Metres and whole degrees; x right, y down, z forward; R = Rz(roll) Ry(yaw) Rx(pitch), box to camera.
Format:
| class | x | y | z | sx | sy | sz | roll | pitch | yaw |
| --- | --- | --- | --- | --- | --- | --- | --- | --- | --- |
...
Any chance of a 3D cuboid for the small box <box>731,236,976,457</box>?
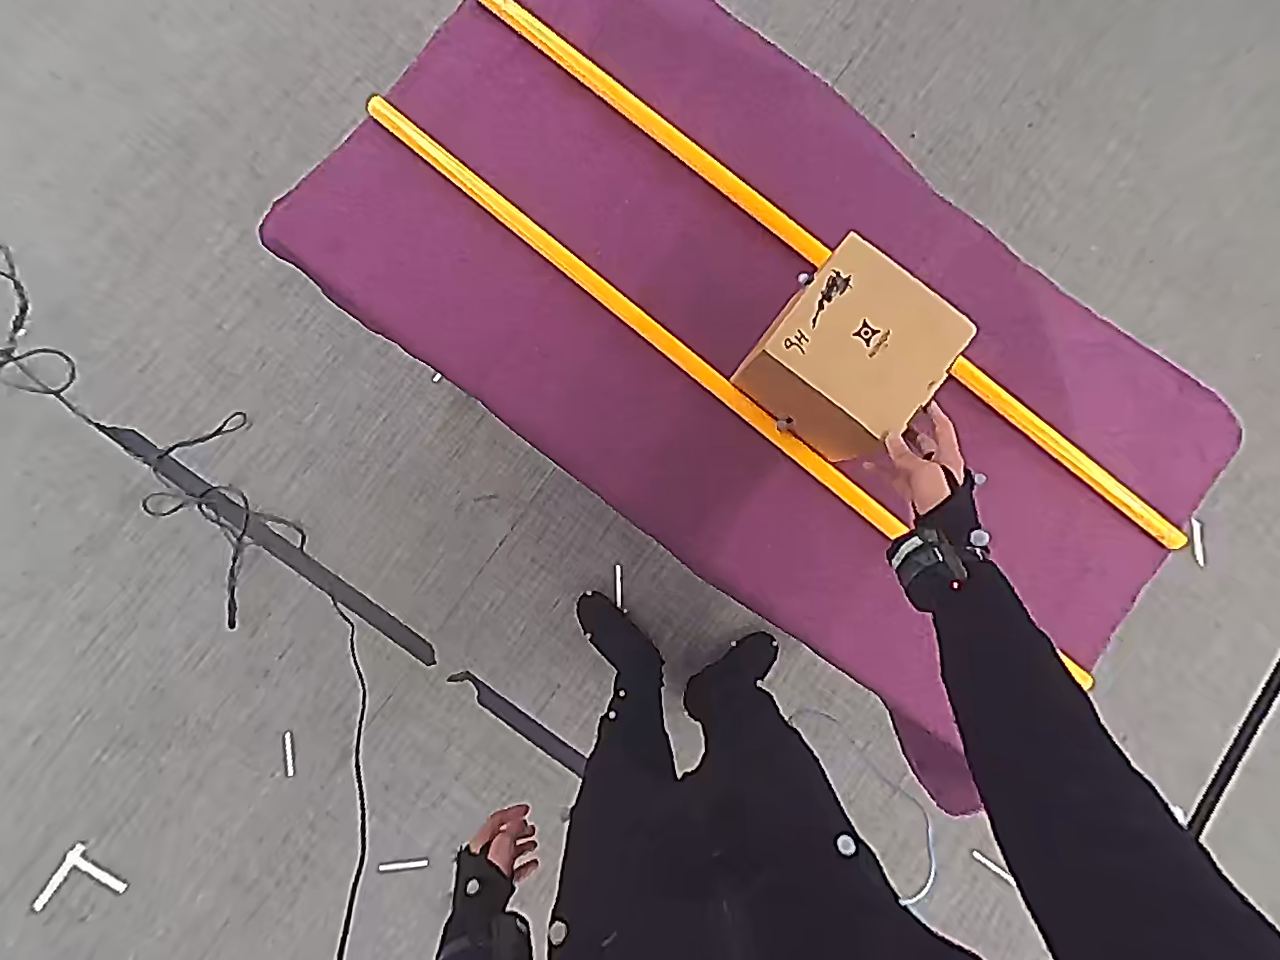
| class | x | y | z | sx | sy | sz | roll | pitch | yaw |
| --- | --- | --- | --- | --- | --- | --- | --- | --- | --- |
| small box | 0.237 | -0.141 | 0.645 | 0.179 | 0.176 | 0.168 | 38 | 85 | -2 |
